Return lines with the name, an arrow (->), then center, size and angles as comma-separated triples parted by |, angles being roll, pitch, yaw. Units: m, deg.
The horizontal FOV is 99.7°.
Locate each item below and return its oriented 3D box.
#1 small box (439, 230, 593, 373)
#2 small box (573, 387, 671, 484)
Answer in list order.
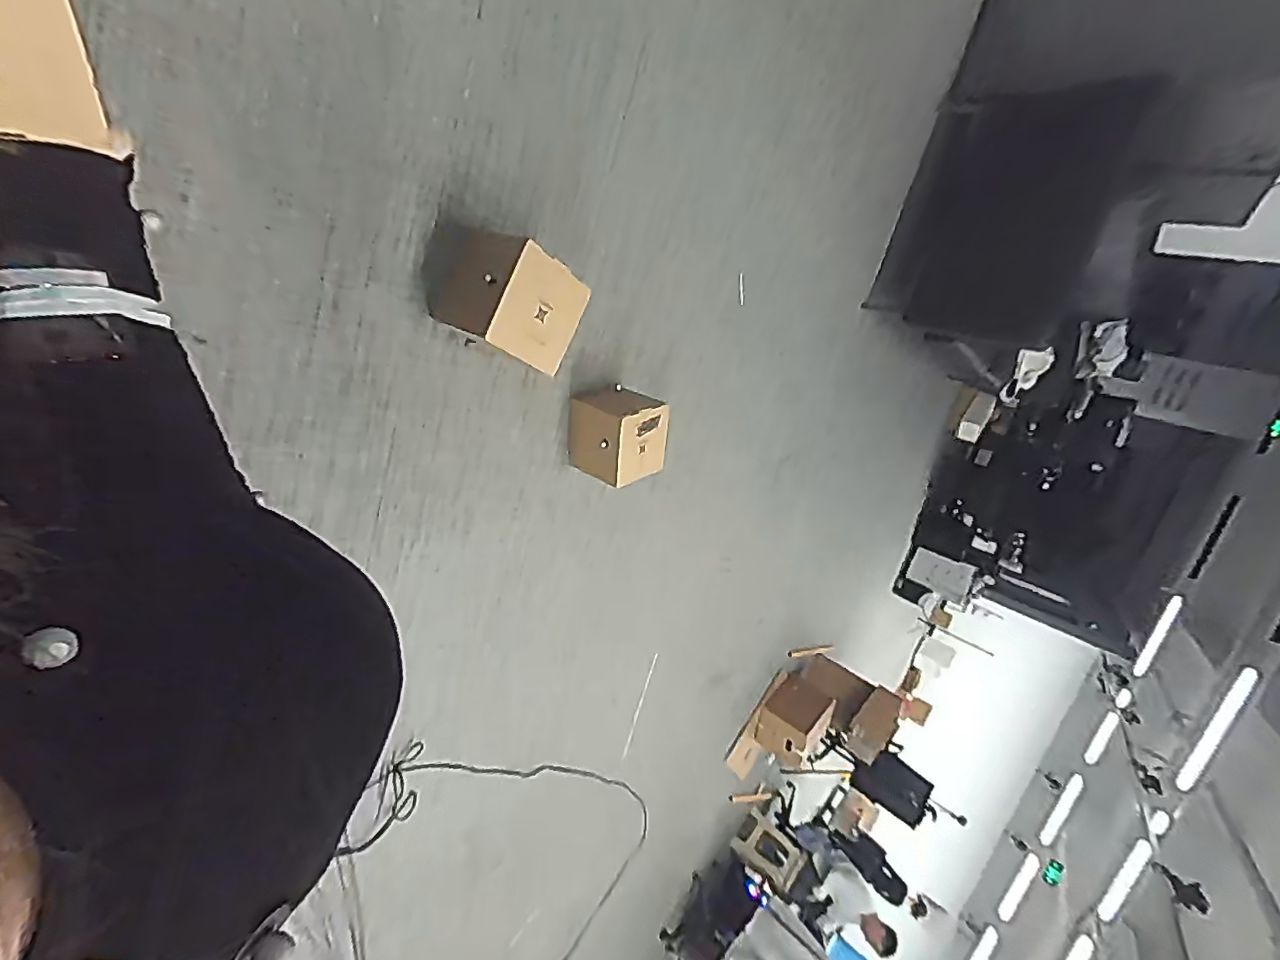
small box -> -0.220, -0.315, 0.950 | 0.168, 0.176, 0.179 | 22, 92, -54
small box -> -0.046, -0.117, 1.293 | 0.168, 0.176, 0.179 | -23, 128, -43
